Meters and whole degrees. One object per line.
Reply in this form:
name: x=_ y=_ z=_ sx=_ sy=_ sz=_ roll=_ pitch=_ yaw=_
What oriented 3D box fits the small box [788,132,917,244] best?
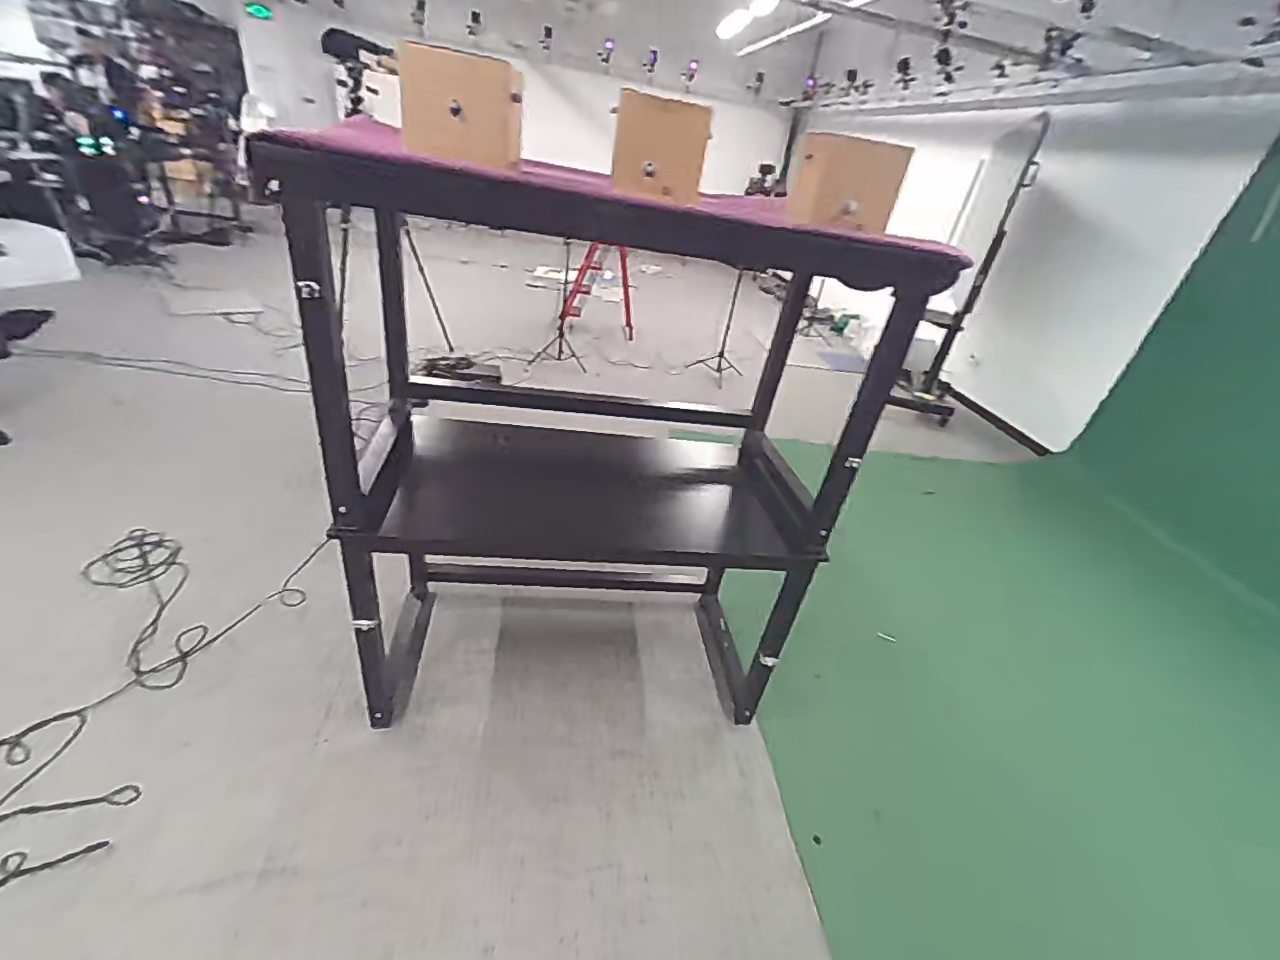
small box: x=0.415 y=-0.590 z=1.095 sx=0.168 sy=0.176 sz=0.179 roll=6 pitch=32 yaw=-6

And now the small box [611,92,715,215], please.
small box: x=0.034 y=-0.618 z=1.036 sx=0.168 sy=0.176 sz=0.179 roll=6 pitch=30 yaw=-7
